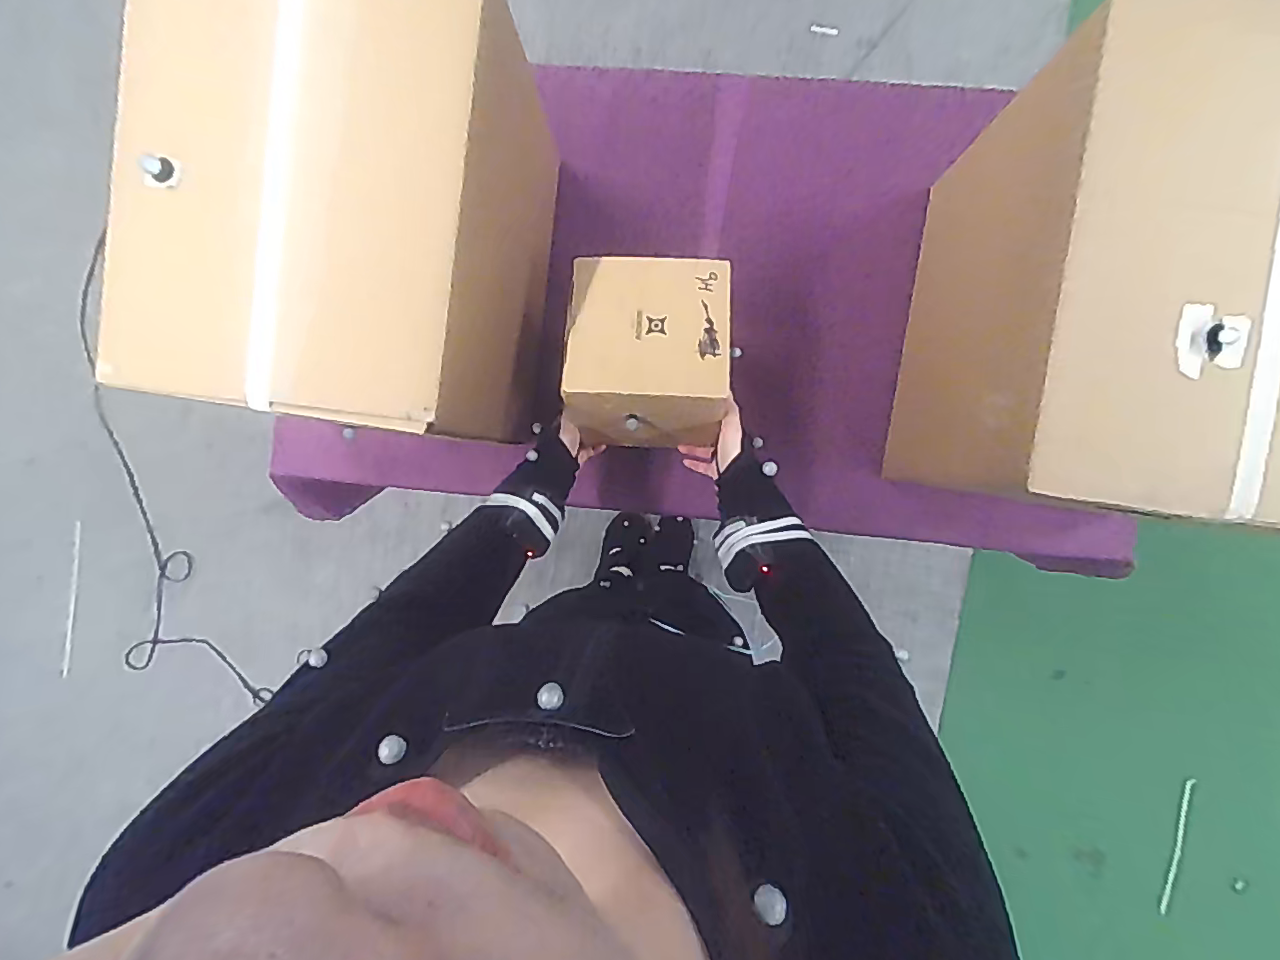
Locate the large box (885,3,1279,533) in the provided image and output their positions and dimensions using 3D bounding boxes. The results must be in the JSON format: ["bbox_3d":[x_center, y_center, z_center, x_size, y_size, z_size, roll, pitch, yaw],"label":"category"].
[{"bbox_3d":[0.505,-0.172,0.584,0.320,0.320,0.408,9,93,3],"label":"large box"}]
